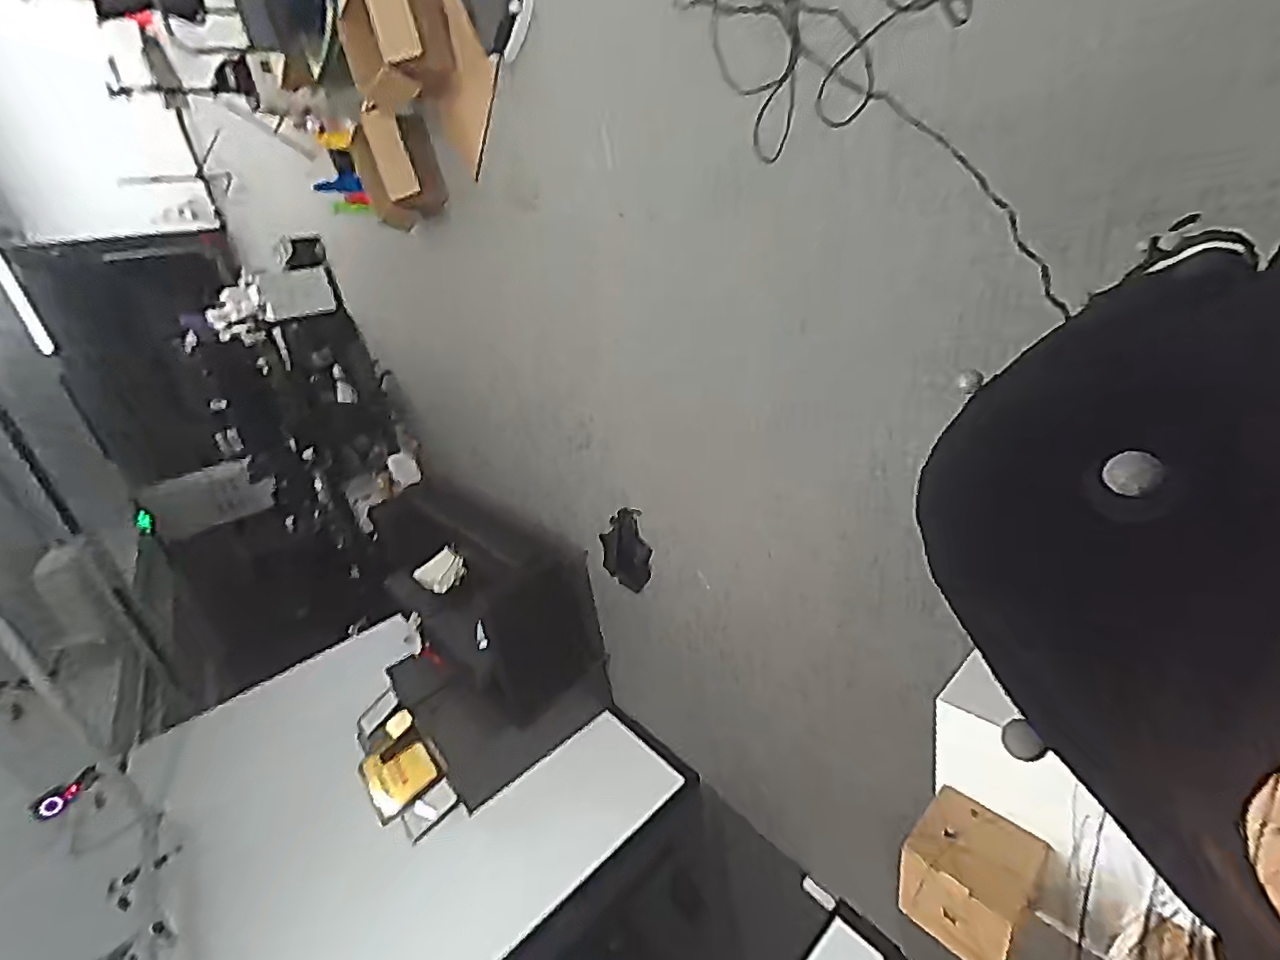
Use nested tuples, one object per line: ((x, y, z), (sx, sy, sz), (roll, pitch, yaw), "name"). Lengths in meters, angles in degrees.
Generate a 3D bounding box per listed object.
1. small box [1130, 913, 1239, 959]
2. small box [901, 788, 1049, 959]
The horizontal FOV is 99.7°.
((0.755, 0.751, 0.721), (0.168, 0.176, 0.179), (15, 122, 51), "small box")
((0.574, 0.683, 0.930), (0.168, 0.176, 0.179), (19, 126, 48), "small box")
